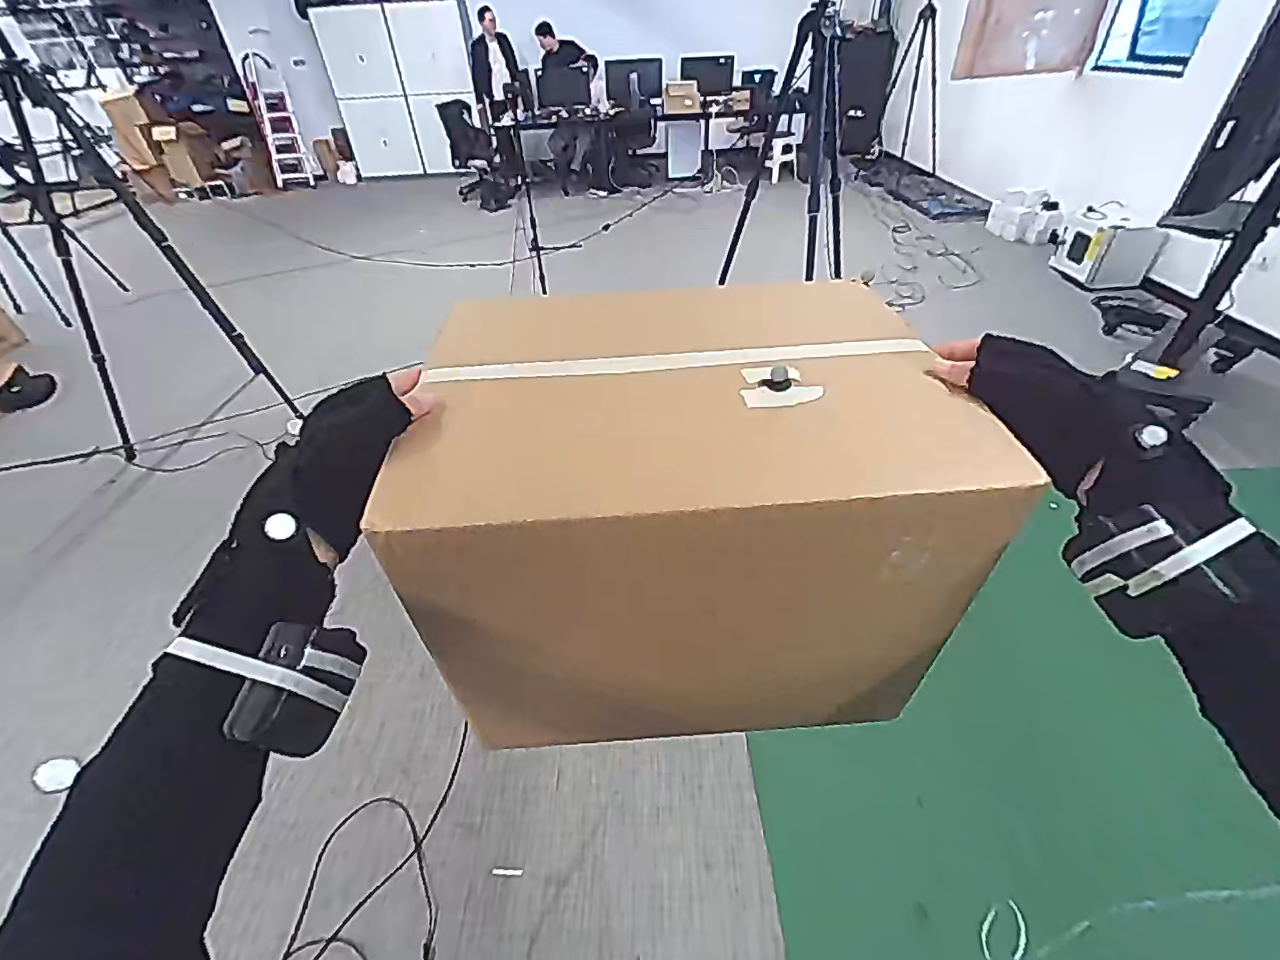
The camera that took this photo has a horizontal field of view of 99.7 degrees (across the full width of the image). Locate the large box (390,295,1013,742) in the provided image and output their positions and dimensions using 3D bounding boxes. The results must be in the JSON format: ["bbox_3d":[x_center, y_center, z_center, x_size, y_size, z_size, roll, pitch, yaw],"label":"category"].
[{"bbox_3d":[0.033,0.030,0.542,0.408,0.320,0.320,-3,42,-2],"label":"large box"}]
